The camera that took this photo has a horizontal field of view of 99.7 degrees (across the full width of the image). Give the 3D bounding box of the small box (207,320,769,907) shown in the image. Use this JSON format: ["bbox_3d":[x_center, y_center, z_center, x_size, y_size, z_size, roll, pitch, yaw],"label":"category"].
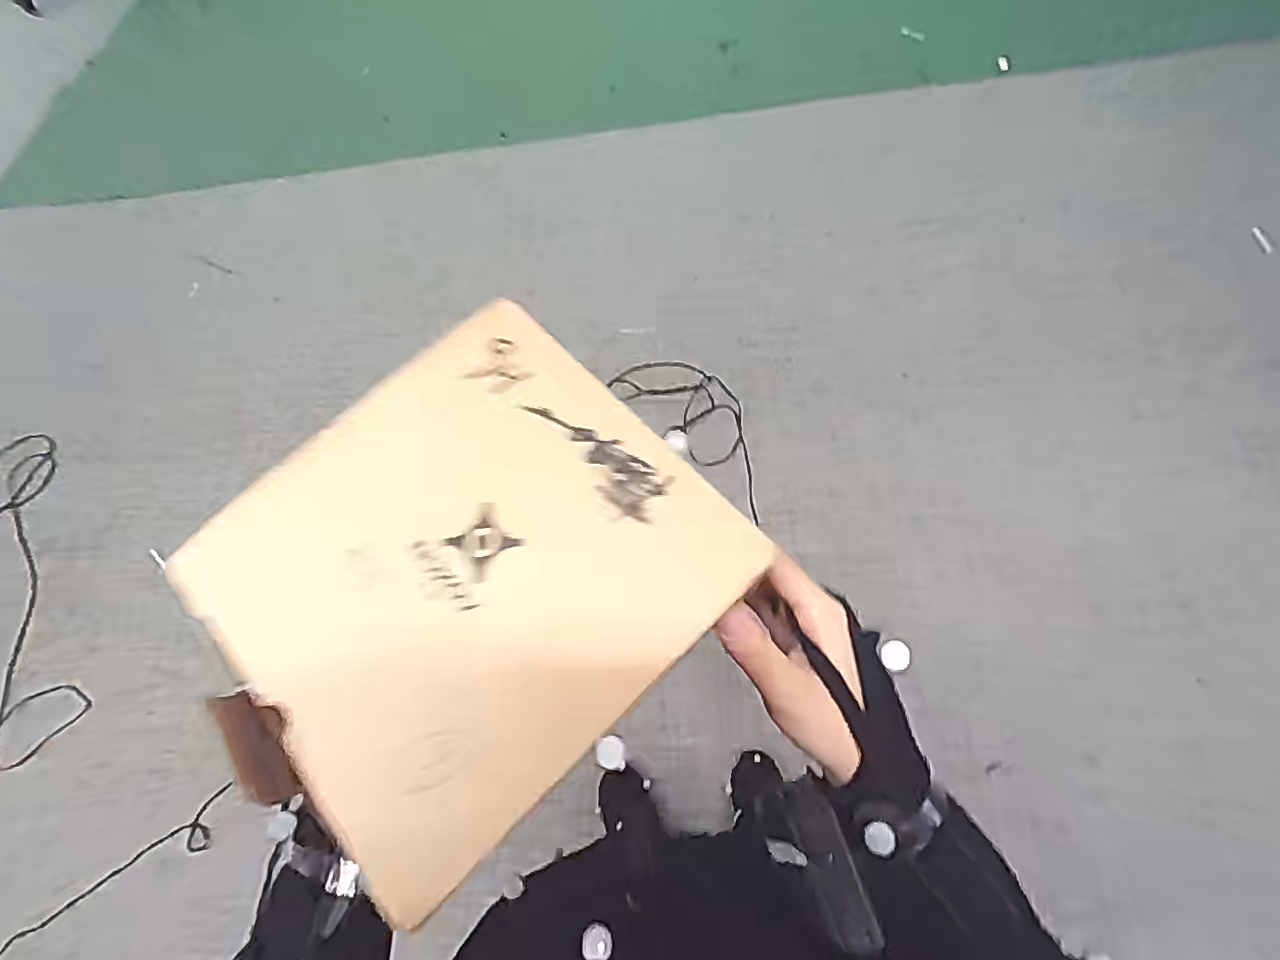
[{"bbox_3d":[-0.059,0.061,0.291,0.179,0.176,0.168,-42,73,-12],"label":"small box"}]
